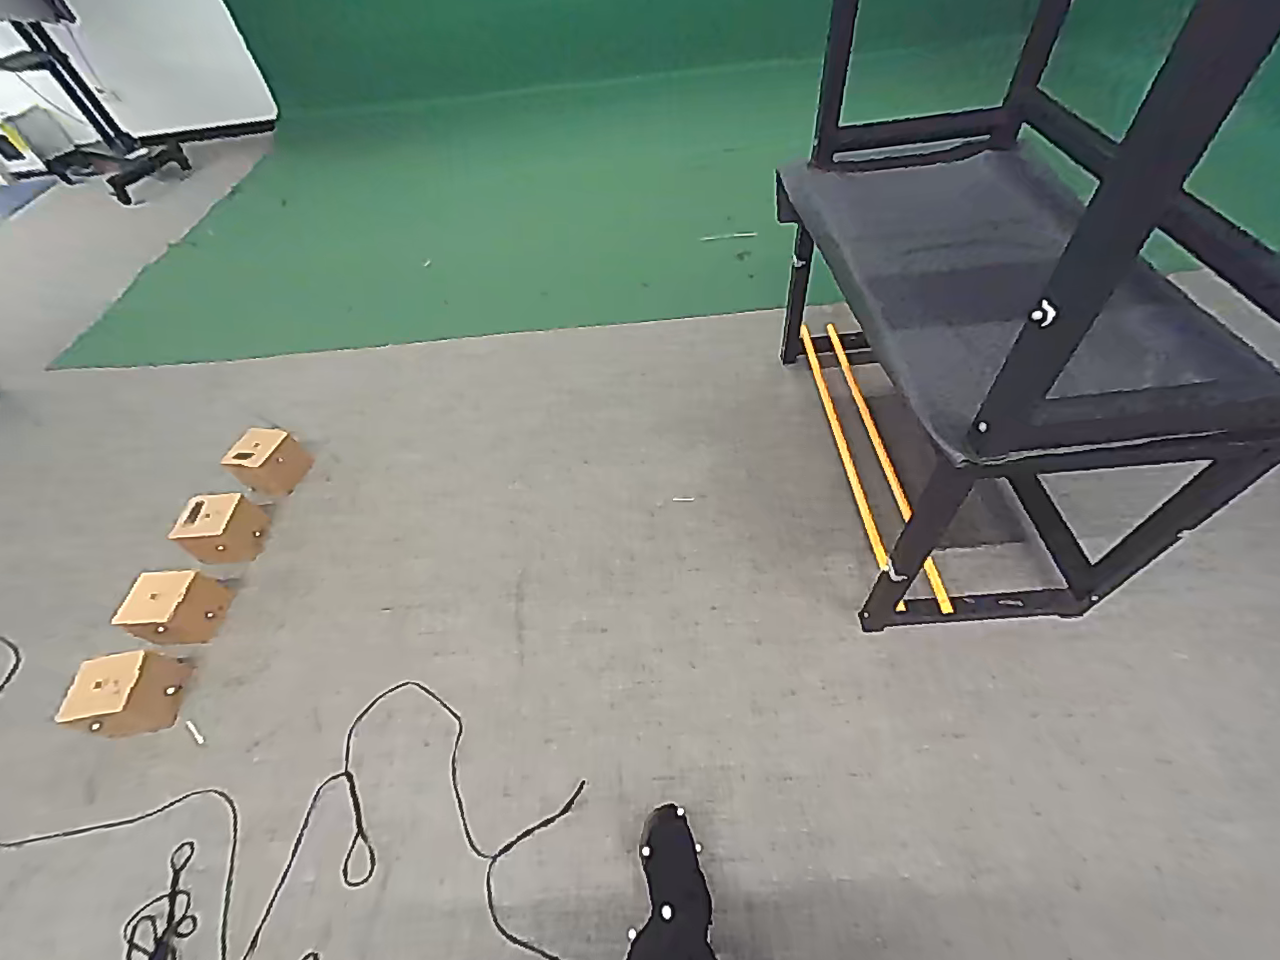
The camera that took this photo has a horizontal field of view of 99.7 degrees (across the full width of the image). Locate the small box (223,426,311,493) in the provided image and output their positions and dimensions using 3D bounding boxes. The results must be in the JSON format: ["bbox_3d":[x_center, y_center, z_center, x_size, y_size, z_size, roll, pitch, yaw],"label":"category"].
[{"bbox_3d":[-1.357,-0.073,1.983,0.168,0.176,0.179,8,52,12],"label":"small box"}]

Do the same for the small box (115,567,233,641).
[{"bbox_3d":[-1.399,0.379,1.637,0.179,0.176,0.168,-3,52,3],"label":"small box"}]

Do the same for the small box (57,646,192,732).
[{"bbox_3d":[-1.397,0.576,1.480,0.179,0.176,0.168,-10,53,-2],"label":"small box"}]
